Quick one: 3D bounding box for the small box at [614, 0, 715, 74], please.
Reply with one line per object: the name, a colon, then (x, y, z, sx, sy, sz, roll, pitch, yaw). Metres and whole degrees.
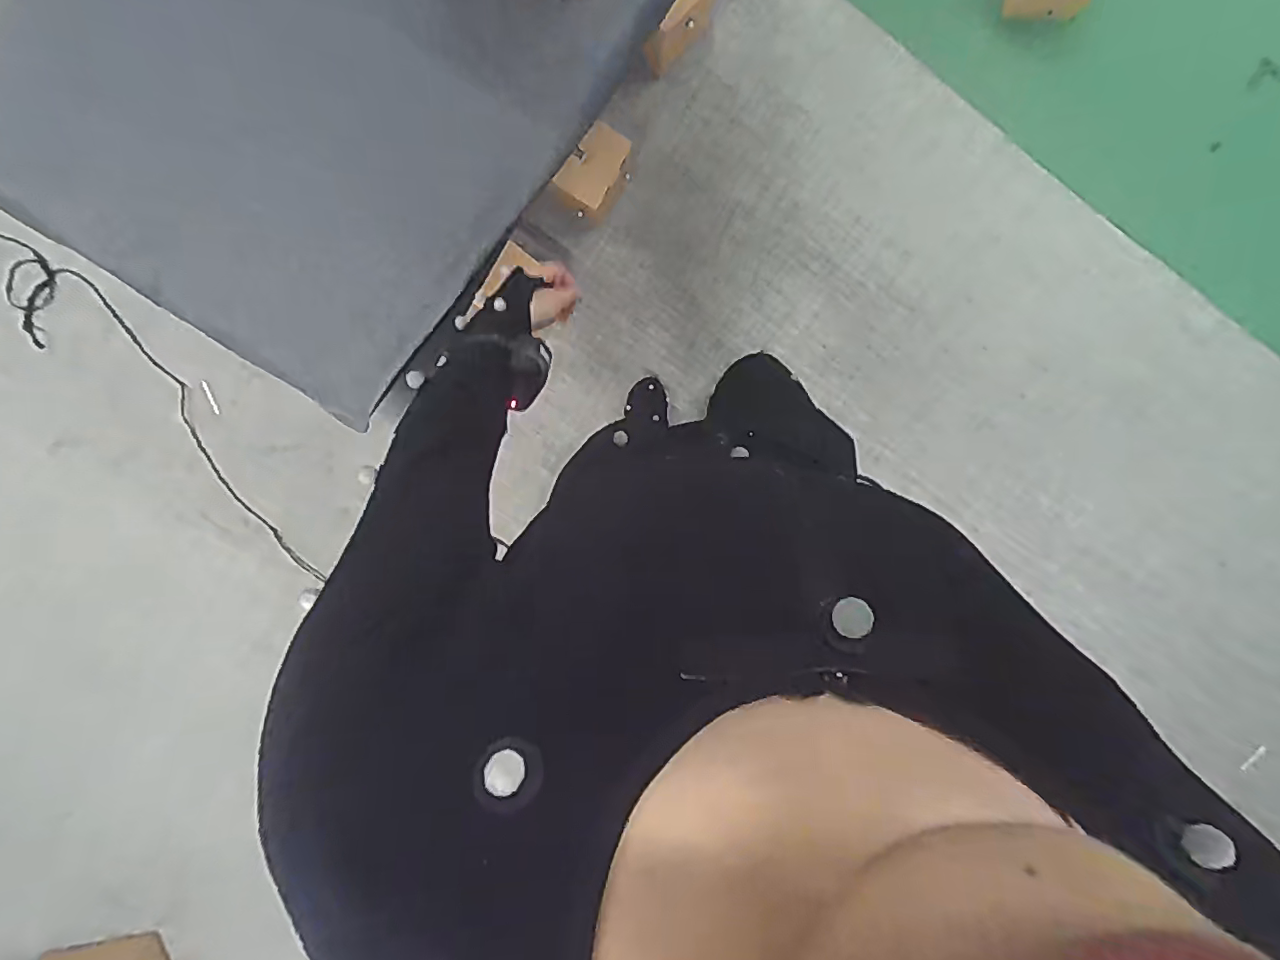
small box: (0.055, -1.050, 1.182, 0.179, 0.176, 0.168, -43, 99, 6)

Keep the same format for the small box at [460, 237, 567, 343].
small box: (-0.295, -0.449, 1.306, 0.179, 0.176, 0.168, 37, 99, -7)

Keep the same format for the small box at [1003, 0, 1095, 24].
small box: (0.928, -1.144, 1.172, 0.168, 0.176, 0.179, 1, 101, -1)

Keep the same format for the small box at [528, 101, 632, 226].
small box: (-0.130, -0.715, 1.250, 0.179, 0.176, 0.168, 31, 99, -6)
